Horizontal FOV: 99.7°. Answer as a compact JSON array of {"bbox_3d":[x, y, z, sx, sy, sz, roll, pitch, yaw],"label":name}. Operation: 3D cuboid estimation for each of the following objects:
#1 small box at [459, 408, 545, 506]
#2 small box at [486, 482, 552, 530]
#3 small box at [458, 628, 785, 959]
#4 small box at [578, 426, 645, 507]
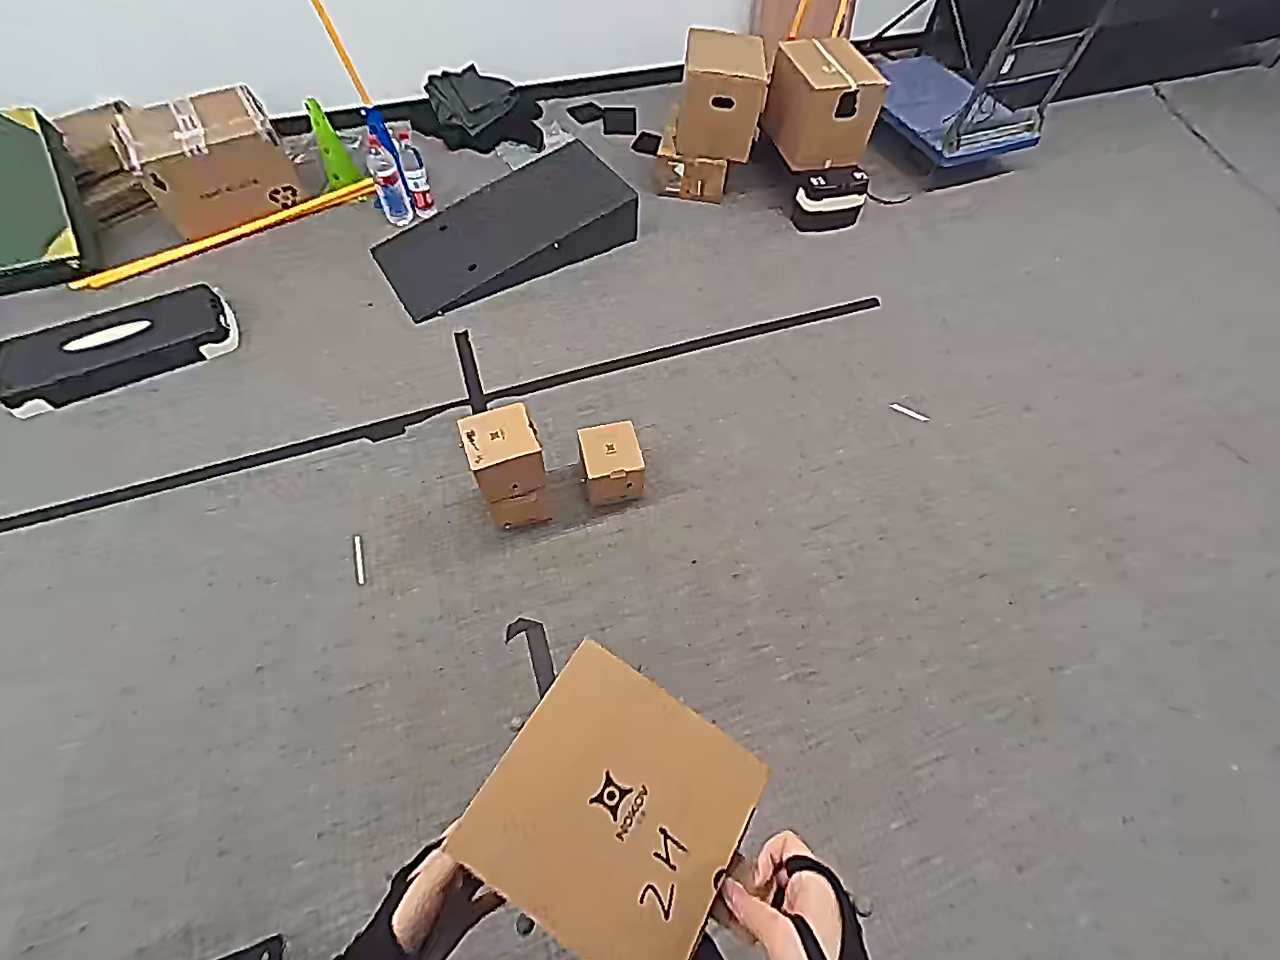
[{"bbox_3d":[-0.354,-0.058,1.415,0.179,0.176,0.168,-17,60,-14],"label":"small box"},{"bbox_3d":[-0.356,0.030,1.554,0.168,0.176,0.179,-13,59,-11],"label":"small box"},{"bbox_3d":[-0.020,0.255,0.444,0.179,0.176,0.168,34,61,7],"label":"small box"},{"bbox_3d":[-0.086,-0.033,1.610,0.168,0.176,0.179,-10,59,-10],"label":"small box"}]
